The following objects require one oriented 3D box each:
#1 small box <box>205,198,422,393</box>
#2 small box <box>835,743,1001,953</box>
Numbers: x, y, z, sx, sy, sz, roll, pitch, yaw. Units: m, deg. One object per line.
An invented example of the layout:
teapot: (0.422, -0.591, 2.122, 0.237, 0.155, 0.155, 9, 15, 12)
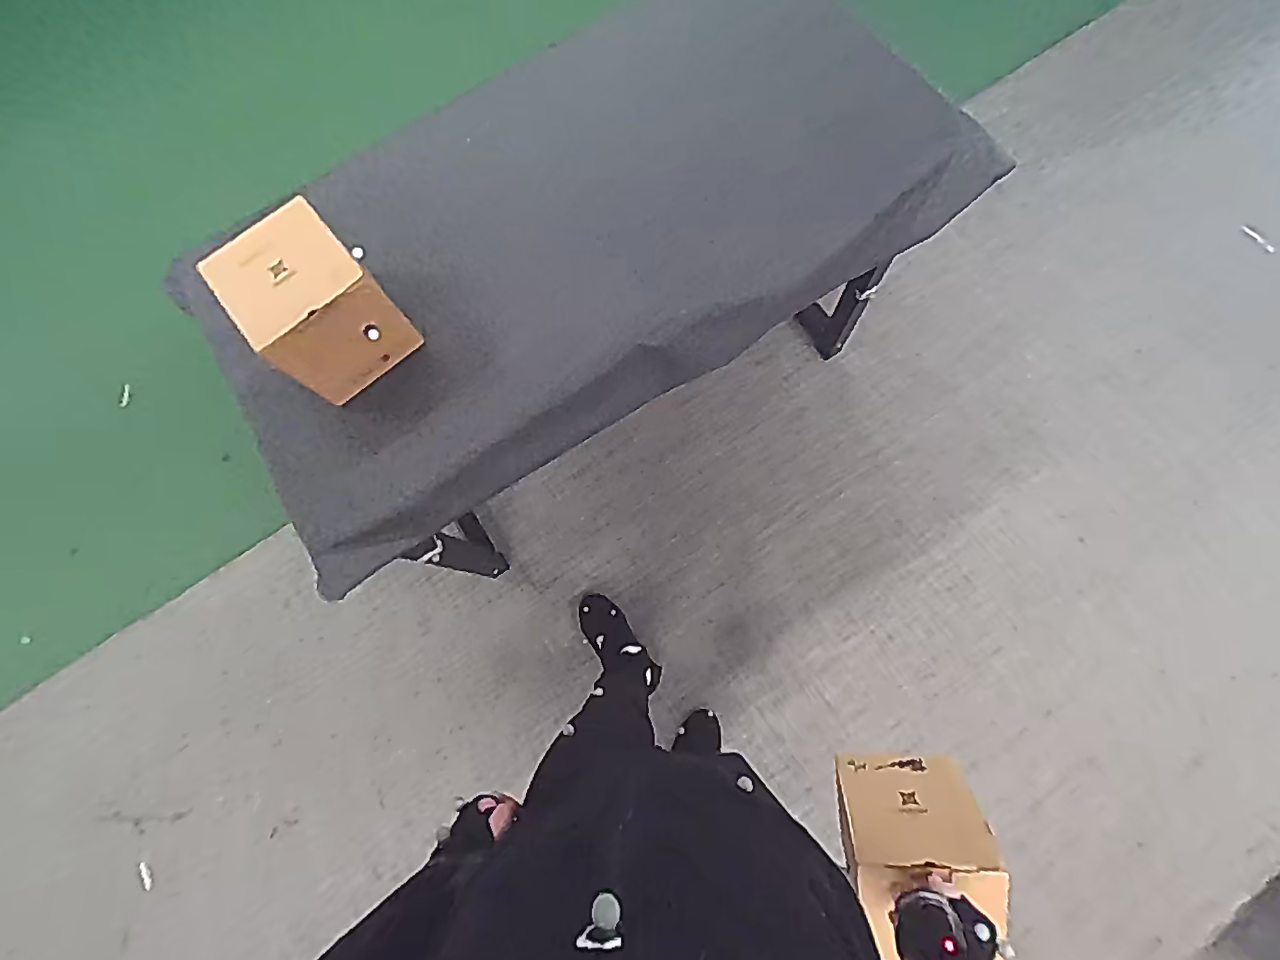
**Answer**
small box: (-0.451, -0.247, 0.775, 0.168, 0.176, 0.179, -40, 75, -8)
small box: (0.367, 0.492, 0.737, 0.168, 0.179, 0.176, -5, 108, 13)
